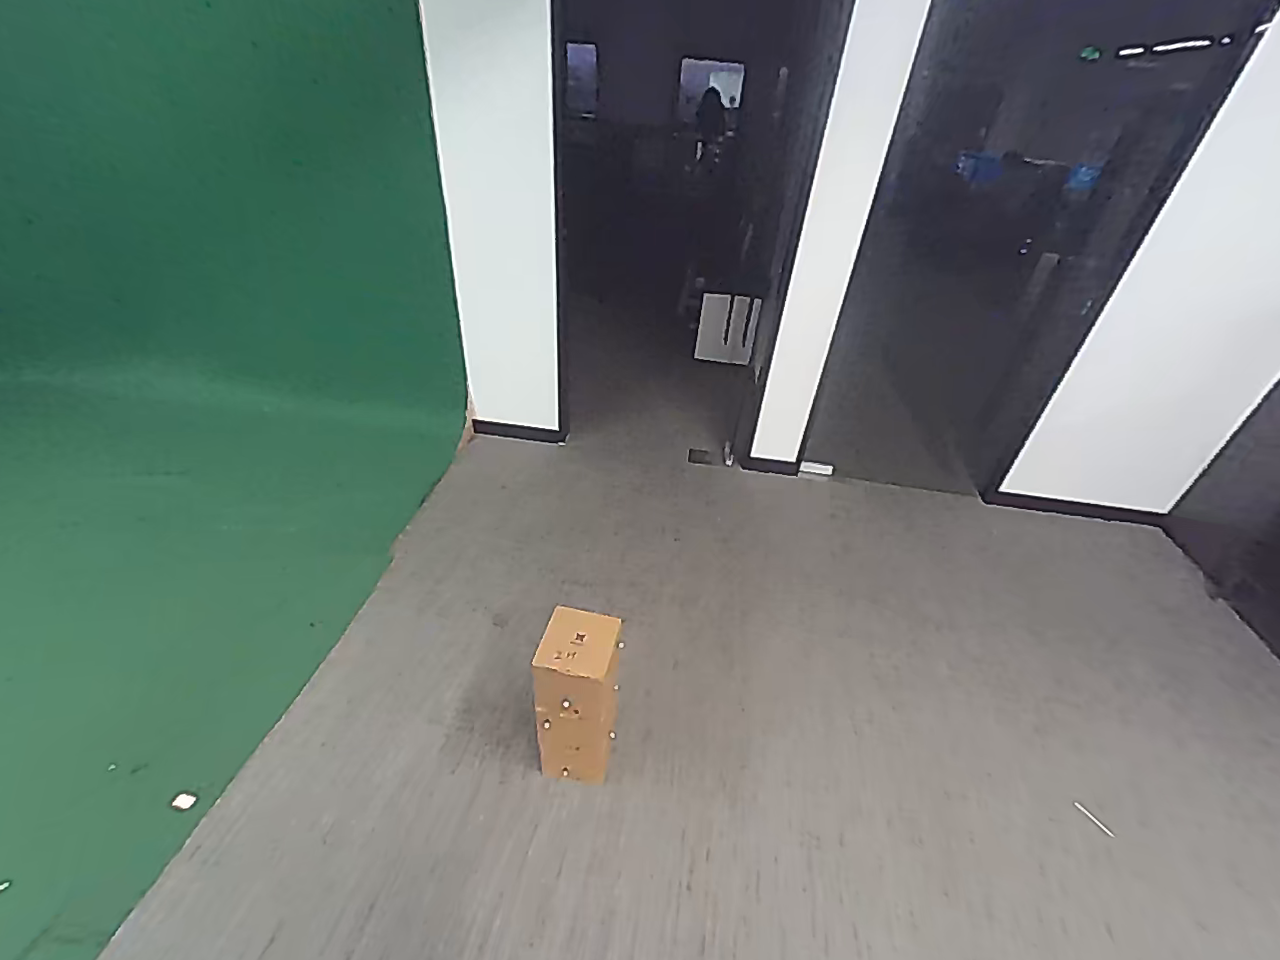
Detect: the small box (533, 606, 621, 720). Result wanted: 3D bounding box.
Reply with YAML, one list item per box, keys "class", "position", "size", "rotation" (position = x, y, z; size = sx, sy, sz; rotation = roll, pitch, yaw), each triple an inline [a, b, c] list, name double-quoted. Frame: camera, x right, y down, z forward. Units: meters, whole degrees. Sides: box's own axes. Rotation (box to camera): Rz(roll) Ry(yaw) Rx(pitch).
- class: "small box"
  position: [-0.150, 0.436, 1.295]
  size: [0.168, 0.176, 0.179]
  rotation: [11, 36, 7]

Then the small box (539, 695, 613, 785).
- class: "small box"
  position: [-0.176, 0.702, 1.488]
  size: [0.168, 0.176, 0.179]
  rotation: [9, 37, 4]
